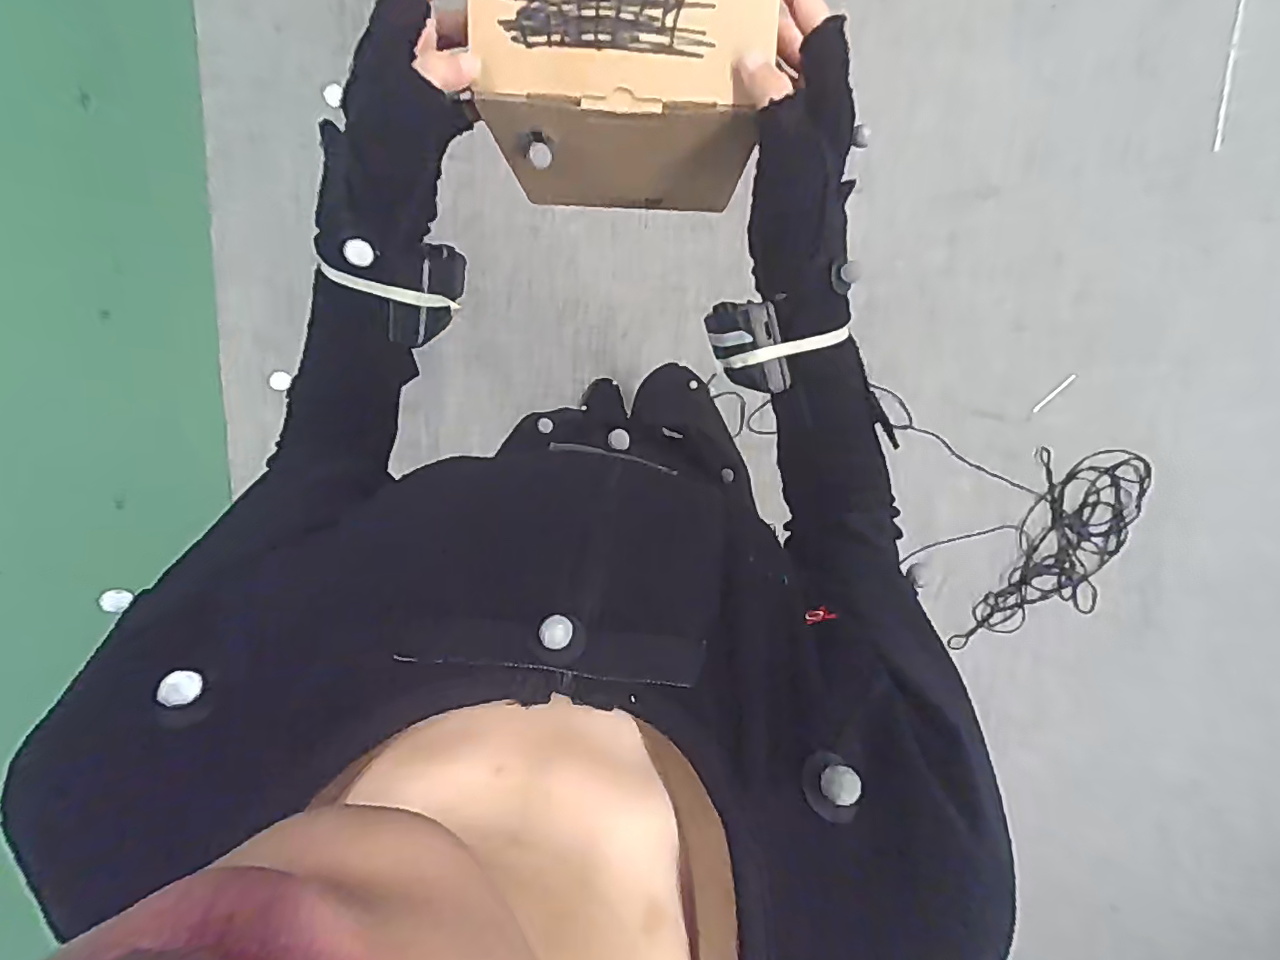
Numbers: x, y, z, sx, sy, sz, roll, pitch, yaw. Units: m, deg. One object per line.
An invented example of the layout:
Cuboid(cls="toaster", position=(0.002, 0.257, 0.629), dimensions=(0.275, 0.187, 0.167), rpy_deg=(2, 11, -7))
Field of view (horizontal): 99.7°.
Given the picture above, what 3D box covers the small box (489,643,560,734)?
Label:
Cuboid(cls="small box", position=(-0.308, 0.564, 1.471), dimensions=(0.168, 0.176, 0.179), rpy_deg=(0, 98, -3))
